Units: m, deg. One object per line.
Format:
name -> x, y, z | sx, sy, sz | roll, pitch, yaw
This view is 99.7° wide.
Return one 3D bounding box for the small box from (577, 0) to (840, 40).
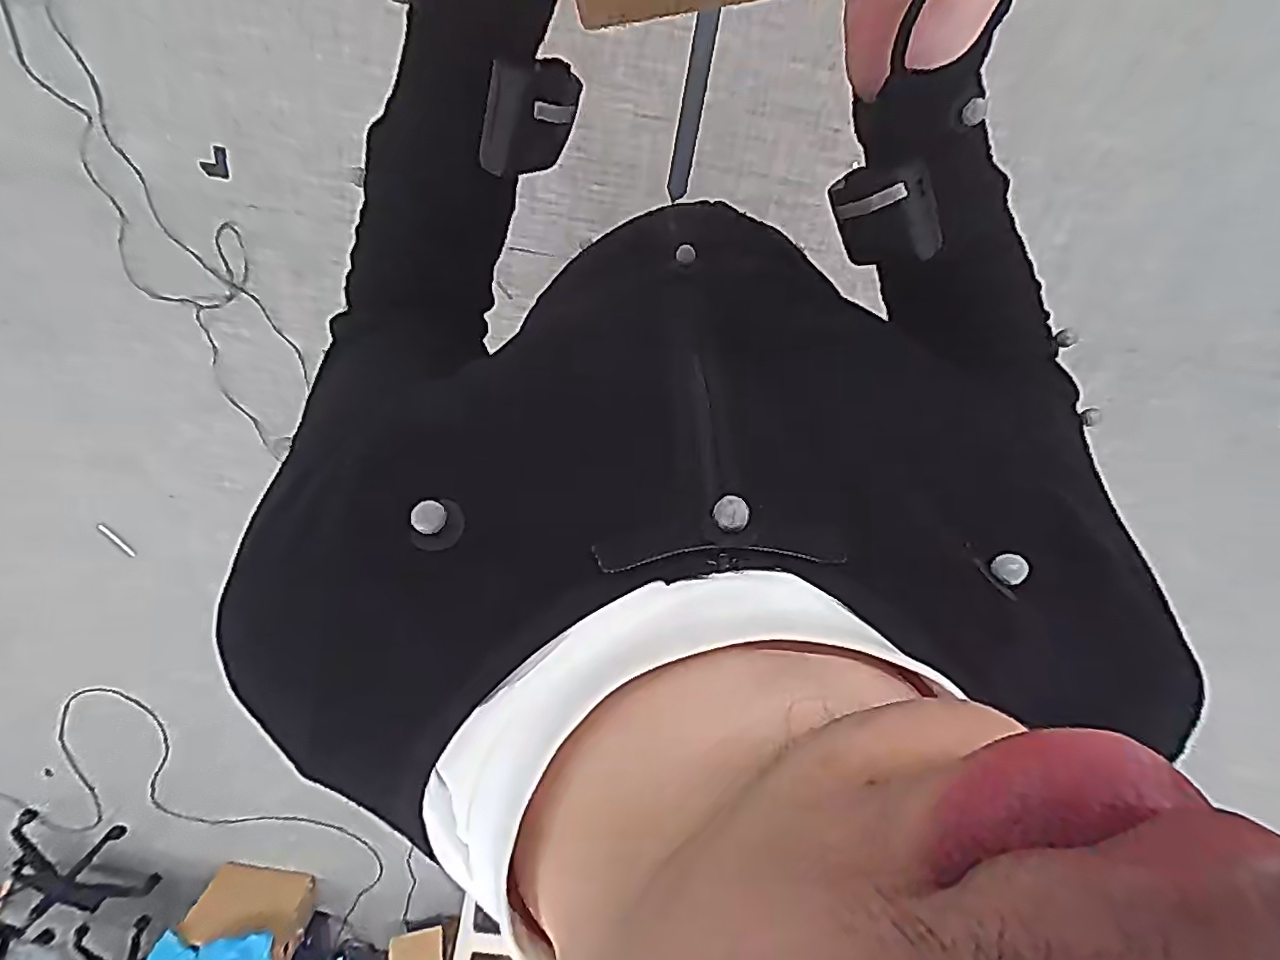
small box -> 0.050, -0.263, 0.162 | 0.179, 0.176, 0.168 | -9, 120, 3
